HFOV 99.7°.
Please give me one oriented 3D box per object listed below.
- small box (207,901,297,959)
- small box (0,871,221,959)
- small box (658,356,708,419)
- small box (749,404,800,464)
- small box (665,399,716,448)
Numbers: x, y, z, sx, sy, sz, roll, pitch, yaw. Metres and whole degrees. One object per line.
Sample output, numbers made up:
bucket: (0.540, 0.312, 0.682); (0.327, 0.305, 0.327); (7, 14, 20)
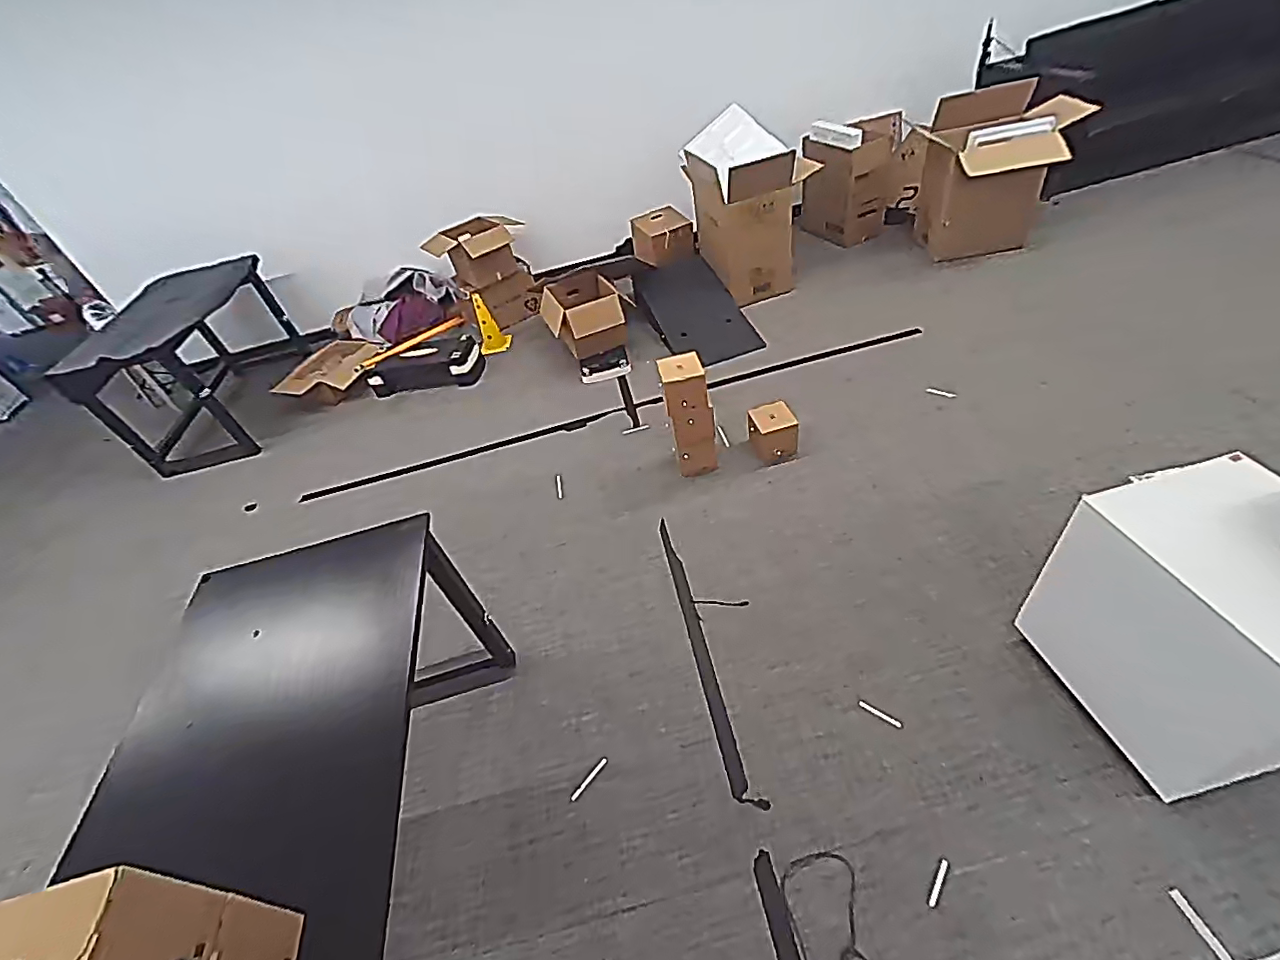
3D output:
small box: (-0.581, 0.673, 0.688); (0.179, 0.176, 0.168); (-16, 42, -3)
small box: (-0.613, 0.555, 0.577); (0.179, 0.176, 0.168); (-16, 43, -2)
small box: (0.175, -0.374, 2.183); (0.168, 0.176, 0.179); (-13, 43, 0)
small box: (0.590, -0.201, 2.380); (0.168, 0.176, 0.179); (-17, 44, -1)
small box: (0.214, -0.256, 2.288); (0.179, 0.176, 0.168); (-14, 42, -2)
